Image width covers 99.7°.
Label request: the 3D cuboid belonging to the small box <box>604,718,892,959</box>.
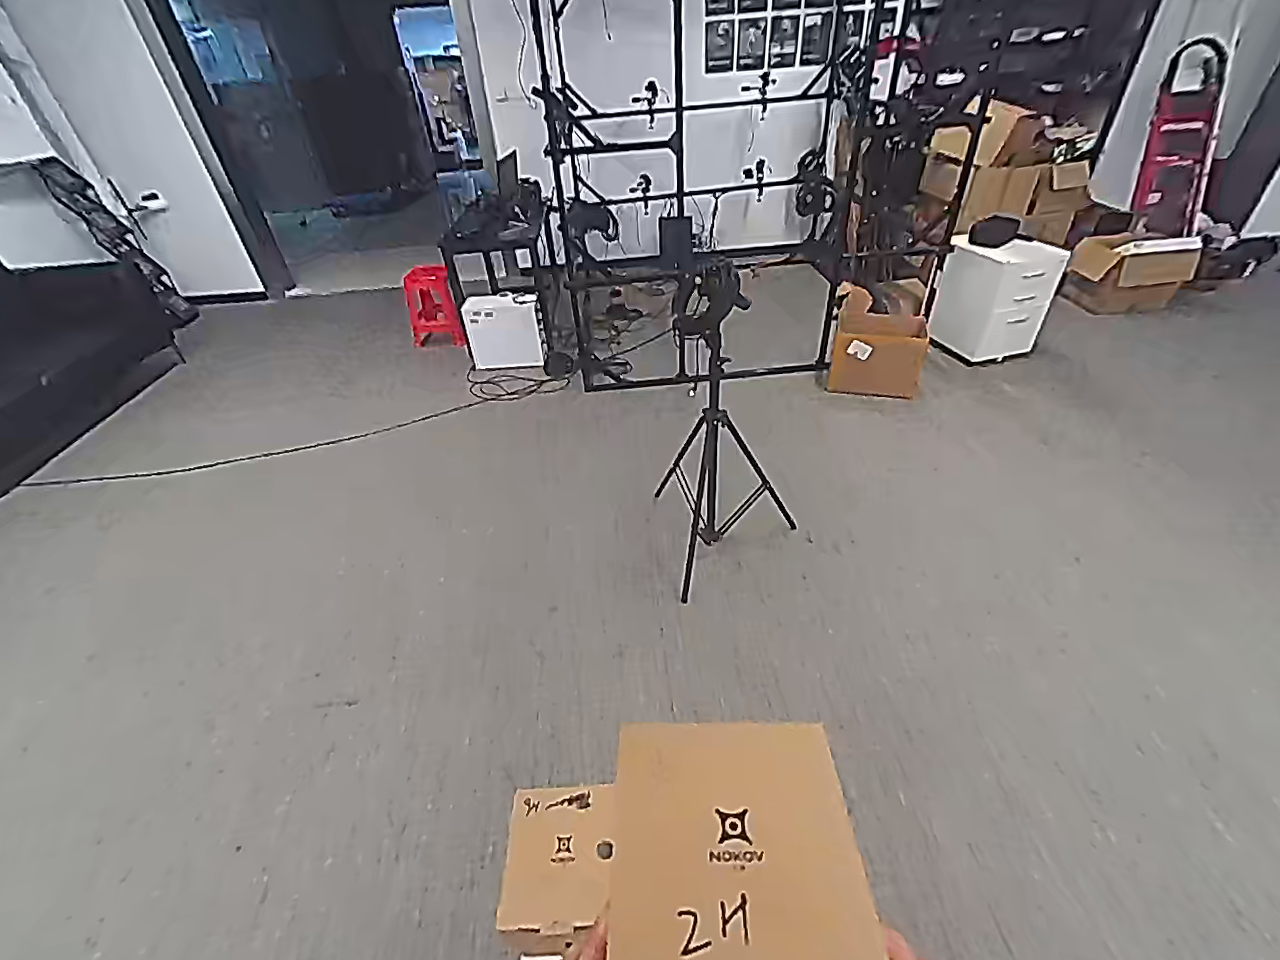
[{"bbox_3d":[0.066,0.305,0.402,0.168,0.176,0.179,-1,34,3],"label":"small box"}]
